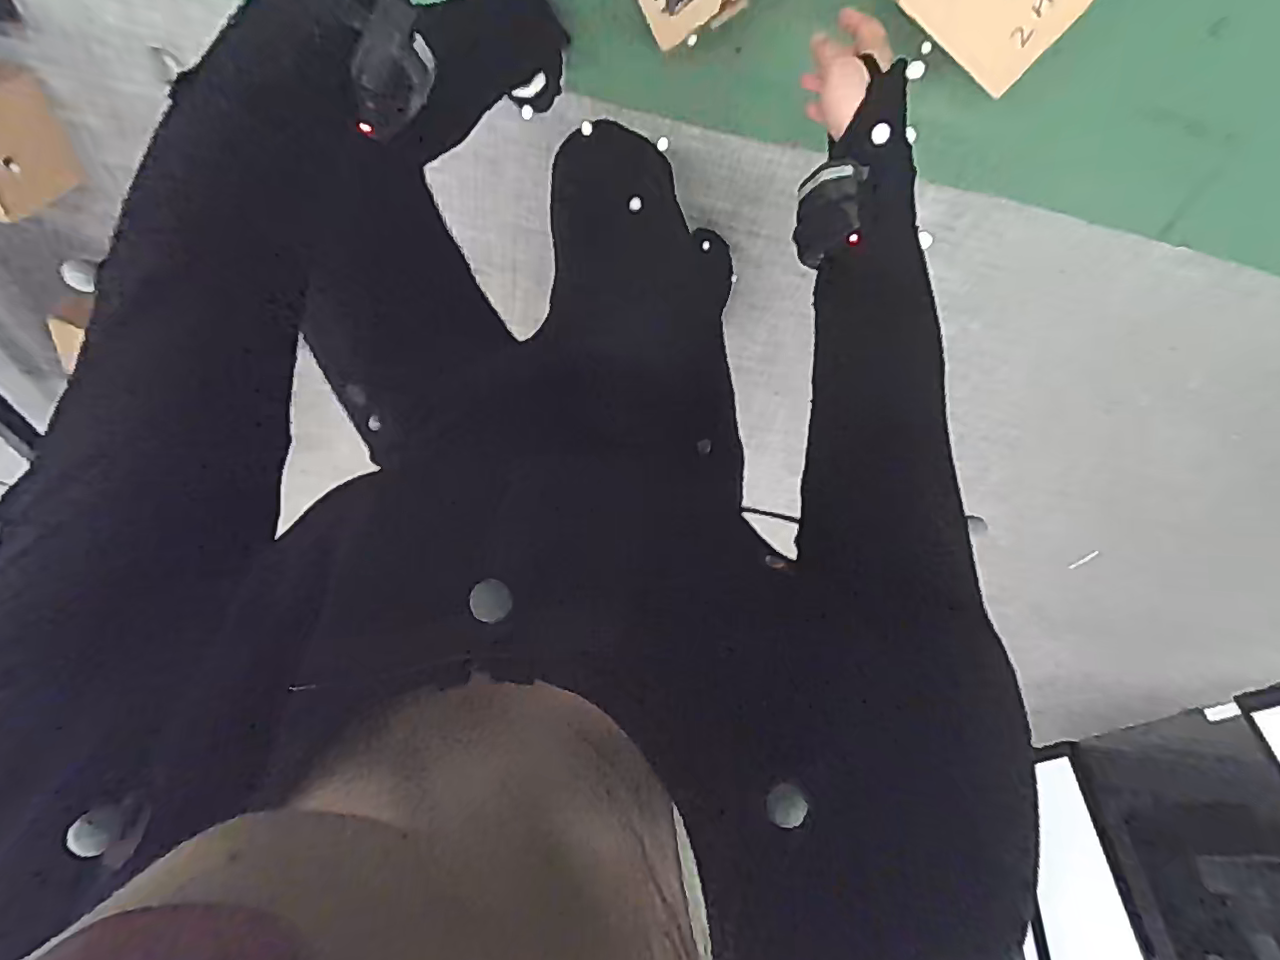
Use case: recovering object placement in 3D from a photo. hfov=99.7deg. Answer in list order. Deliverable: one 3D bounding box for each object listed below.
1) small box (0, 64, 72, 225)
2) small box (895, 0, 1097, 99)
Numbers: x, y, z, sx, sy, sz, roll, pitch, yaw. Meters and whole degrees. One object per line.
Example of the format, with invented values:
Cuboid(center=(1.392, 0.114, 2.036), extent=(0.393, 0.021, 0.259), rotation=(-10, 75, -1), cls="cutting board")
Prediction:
Cuboid(center=(-1.065, -0.542, 0.840), extent=(0.168, 0.176, 0.179), rotation=(14, 140, -11), cls="small box")
Cuboid(center=(0.399, -0.584, 0.605), extent=(0.179, 0.176, 0.168), rotation=(23, 139, -22), cls="small box")
